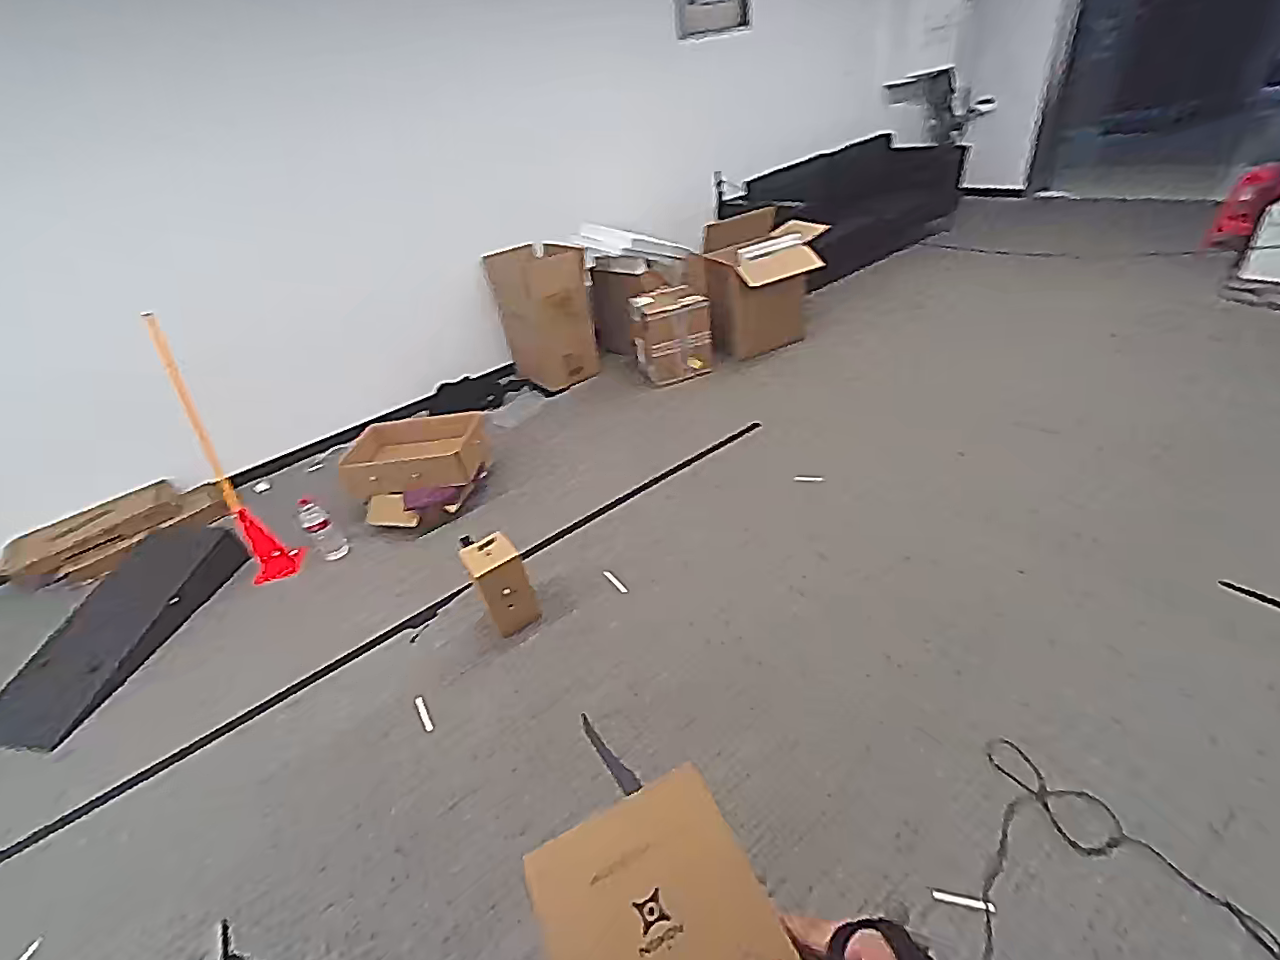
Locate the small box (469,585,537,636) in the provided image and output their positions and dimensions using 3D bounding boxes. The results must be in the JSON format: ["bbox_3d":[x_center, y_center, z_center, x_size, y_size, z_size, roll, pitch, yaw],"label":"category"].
[{"bbox_3d":[-0.514,0.453,2.035,0.179,0.176,0.168,-28,40,-24],"label":"small box"}]

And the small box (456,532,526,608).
[{"bbox_3d":[-0.532,0.322,1.936,0.168,0.176,0.179,-29,40,-23],"label":"small box"}]

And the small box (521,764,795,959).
[{"bbox_3d":[0.019,0.392,0.456,0.168,0.176,0.179,-21,38,-16],"label":"small box"}]
